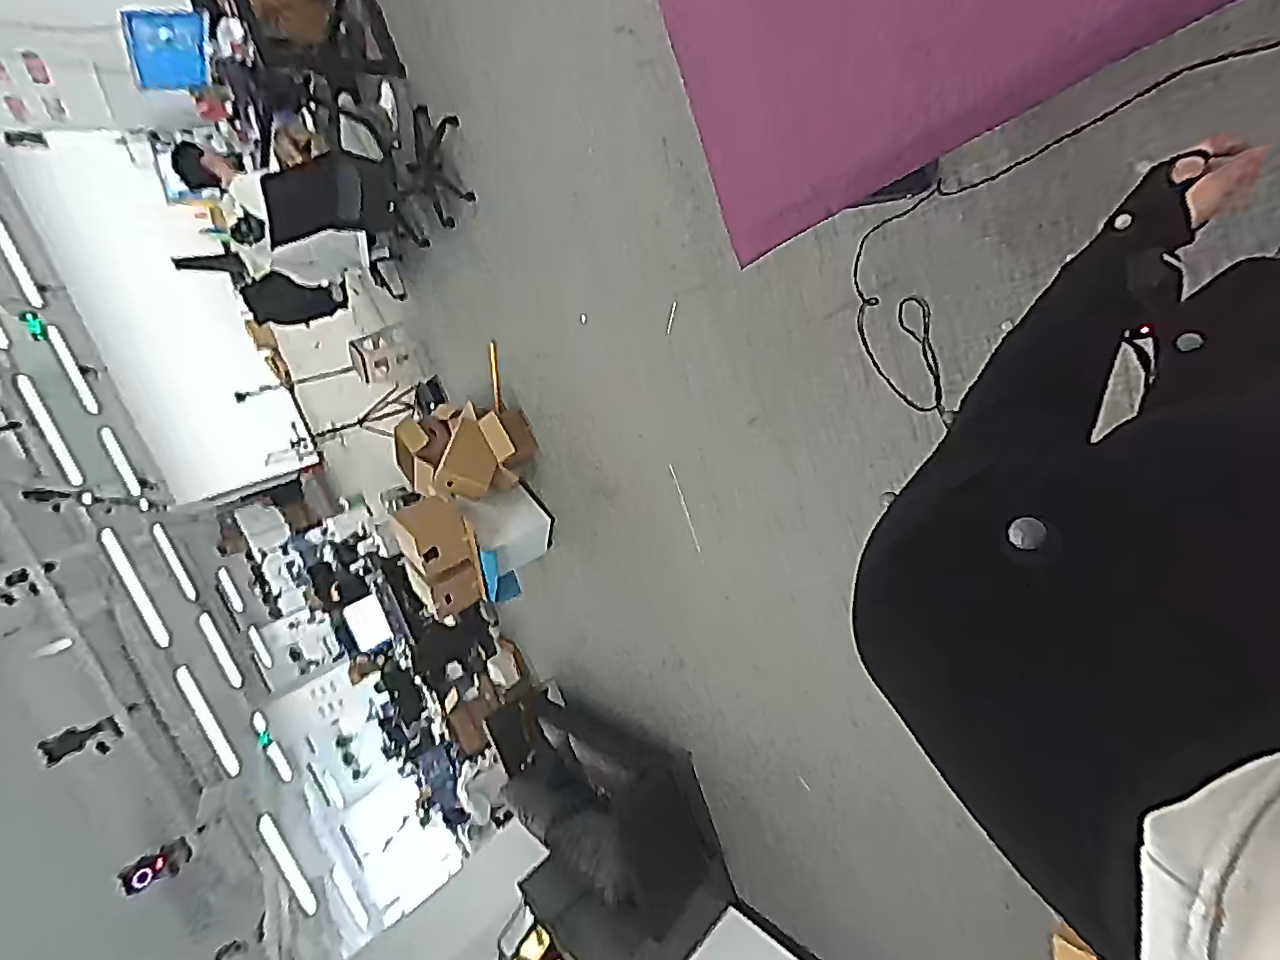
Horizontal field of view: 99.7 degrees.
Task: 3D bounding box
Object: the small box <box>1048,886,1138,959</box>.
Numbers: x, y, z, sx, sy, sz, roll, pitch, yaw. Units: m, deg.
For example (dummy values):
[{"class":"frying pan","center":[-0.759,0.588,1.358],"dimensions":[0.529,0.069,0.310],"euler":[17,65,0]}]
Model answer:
[{"class":"small box","center":[1.283,1.317,1.527],"dimensions":[0.168,0.176,0.179],"euler":[4,114,52]}]
